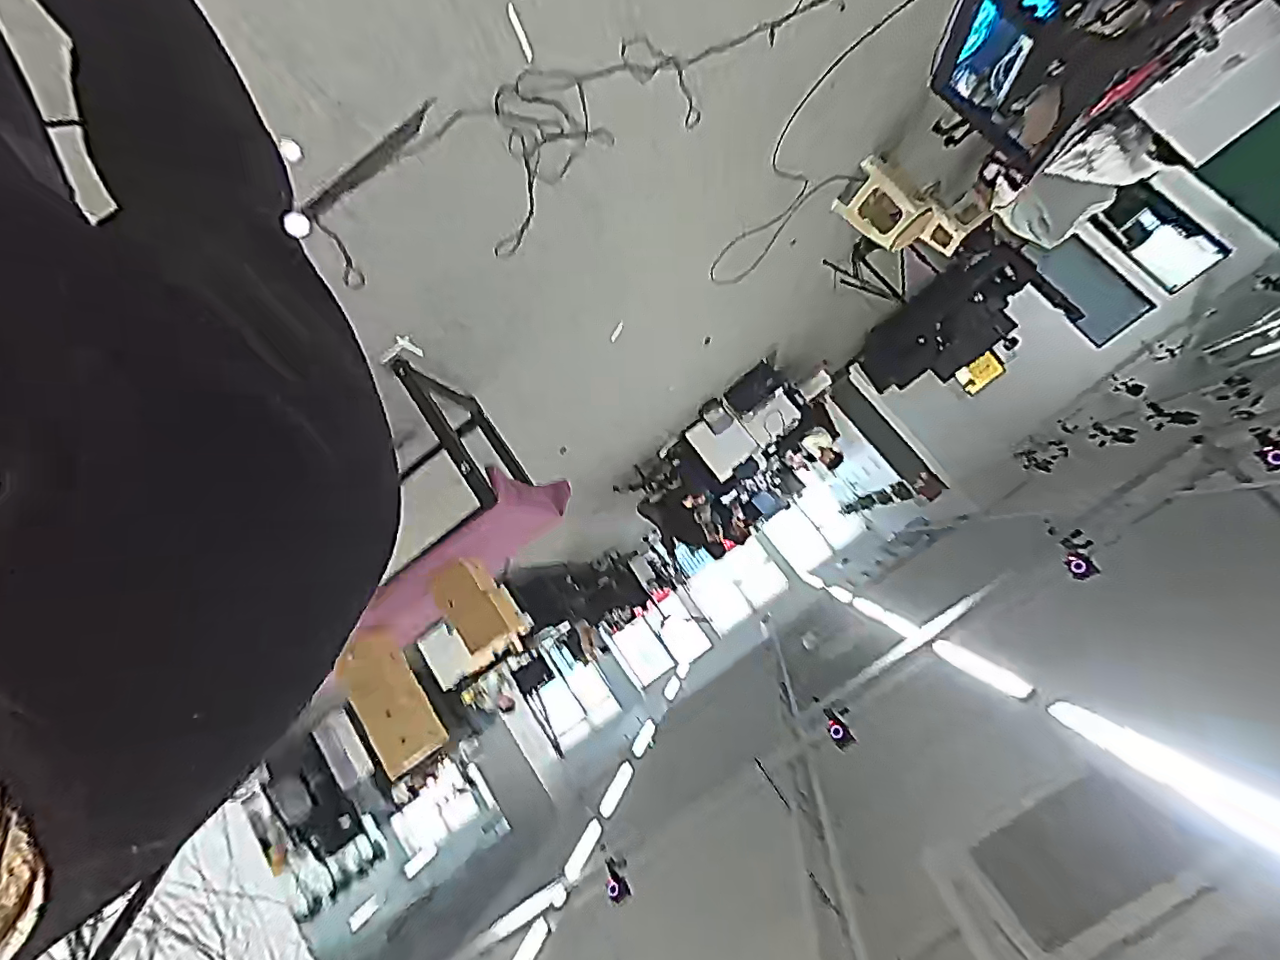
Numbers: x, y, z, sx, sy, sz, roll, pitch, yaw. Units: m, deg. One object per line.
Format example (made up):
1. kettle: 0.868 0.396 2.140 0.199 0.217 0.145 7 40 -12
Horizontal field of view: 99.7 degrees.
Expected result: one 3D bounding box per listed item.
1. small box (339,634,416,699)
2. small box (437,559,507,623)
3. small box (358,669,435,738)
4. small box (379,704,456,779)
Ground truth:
1. small box: -1.025 0.719 2.111 0.168 0.176 0.179 -38 166 1
2. small box: -0.651 0.424 2.074 0.179 0.176 0.168 -38 168 1
3. small box: -0.929 0.845 2.069 0.168 0.176 0.179 -38 168 -1
4. small box: -0.835 0.971 2.026 0.168 0.176 0.179 -38 167 0
